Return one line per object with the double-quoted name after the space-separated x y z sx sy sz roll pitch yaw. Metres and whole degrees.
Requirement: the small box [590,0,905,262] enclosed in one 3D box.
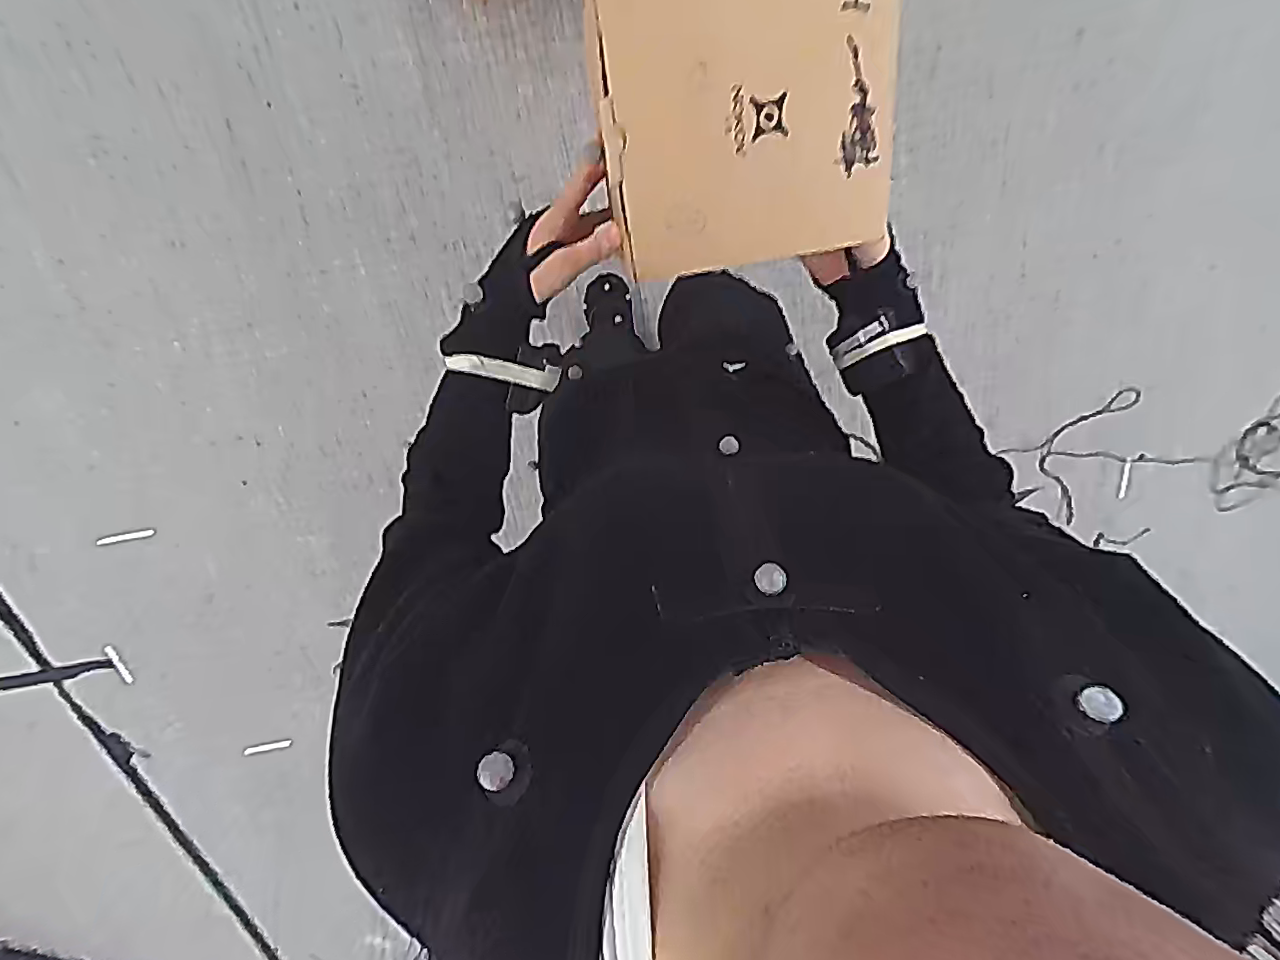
0.063 -0.262 0.391 0.179 0.176 0.168 -9 118 0 "small box"
